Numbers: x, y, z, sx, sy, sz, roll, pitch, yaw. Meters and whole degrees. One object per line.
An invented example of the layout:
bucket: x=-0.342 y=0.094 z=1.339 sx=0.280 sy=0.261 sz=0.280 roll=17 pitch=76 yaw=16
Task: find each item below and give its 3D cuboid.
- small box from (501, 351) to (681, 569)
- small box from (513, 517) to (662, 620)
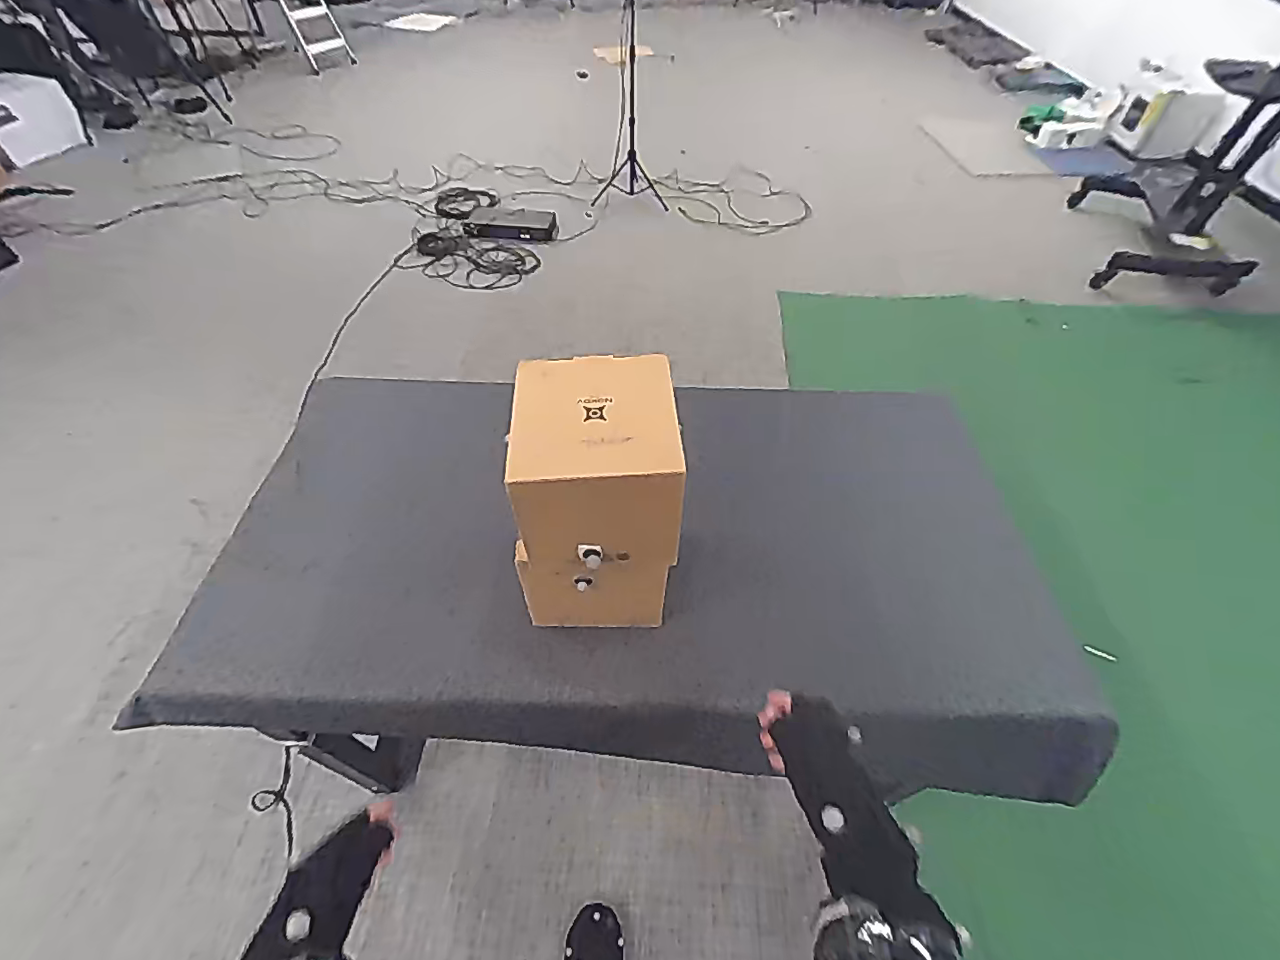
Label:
small box: x=-0.048 y=-0.021 z=0.601 sx=0.168 sy=0.176 sz=0.179 roll=-4 pitch=52 yaw=-2
small box: x=-0.059 y=0.078 z=0.729 sx=0.179 sy=0.176 sz=0.168 roll=1 pitch=51 yaw=0
